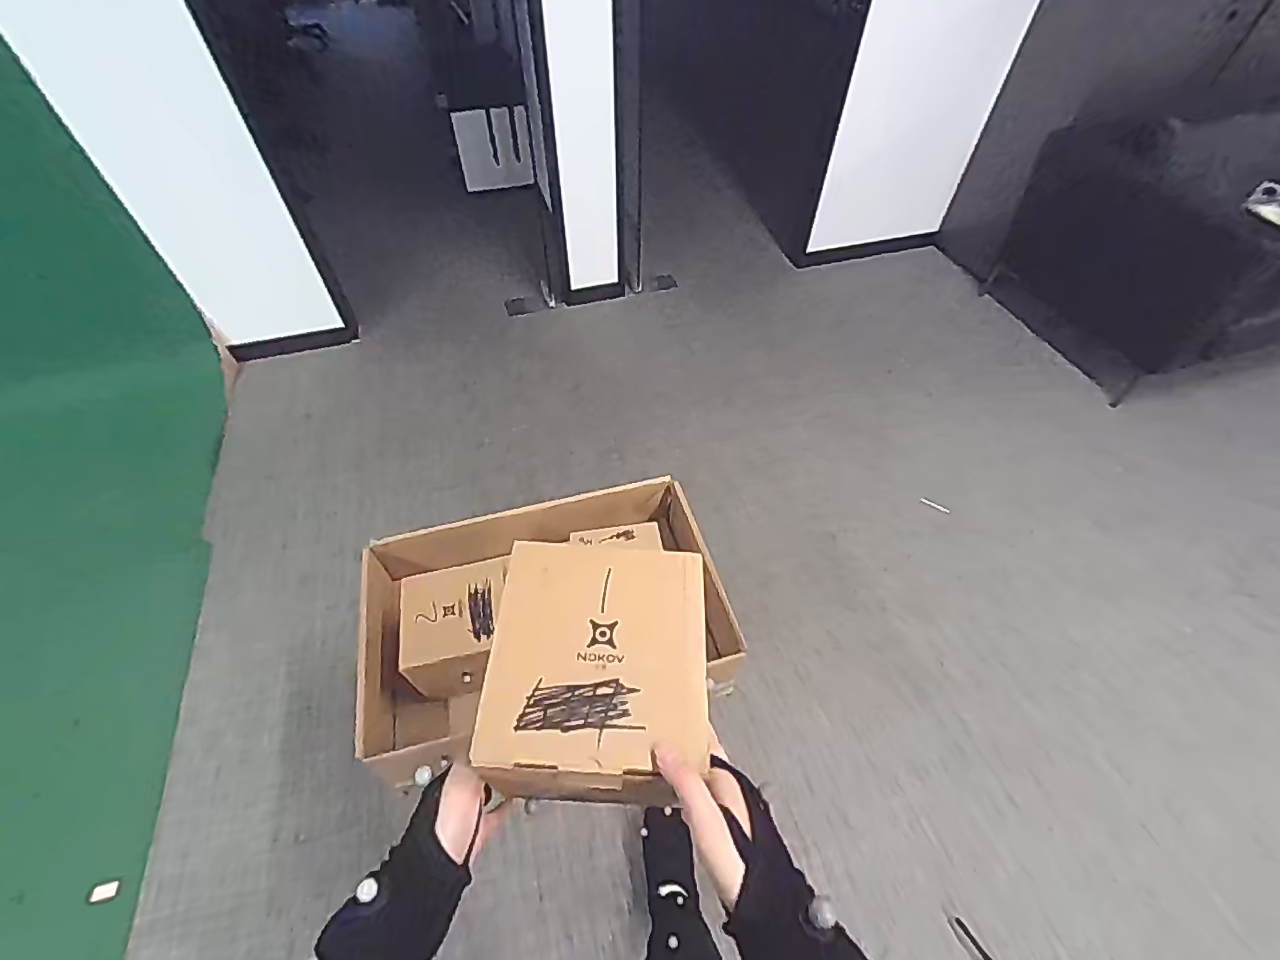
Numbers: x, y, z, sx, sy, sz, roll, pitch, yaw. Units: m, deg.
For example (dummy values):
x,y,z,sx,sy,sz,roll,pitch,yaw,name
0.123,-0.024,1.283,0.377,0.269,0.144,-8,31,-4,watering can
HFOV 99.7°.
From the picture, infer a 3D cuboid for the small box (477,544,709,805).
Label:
x,y,z,sx,sy,sz,roll,pitch,yaw,name
-0.033,0.179,0.486,0.168,0.176,0.179,5,51,-2,small box
